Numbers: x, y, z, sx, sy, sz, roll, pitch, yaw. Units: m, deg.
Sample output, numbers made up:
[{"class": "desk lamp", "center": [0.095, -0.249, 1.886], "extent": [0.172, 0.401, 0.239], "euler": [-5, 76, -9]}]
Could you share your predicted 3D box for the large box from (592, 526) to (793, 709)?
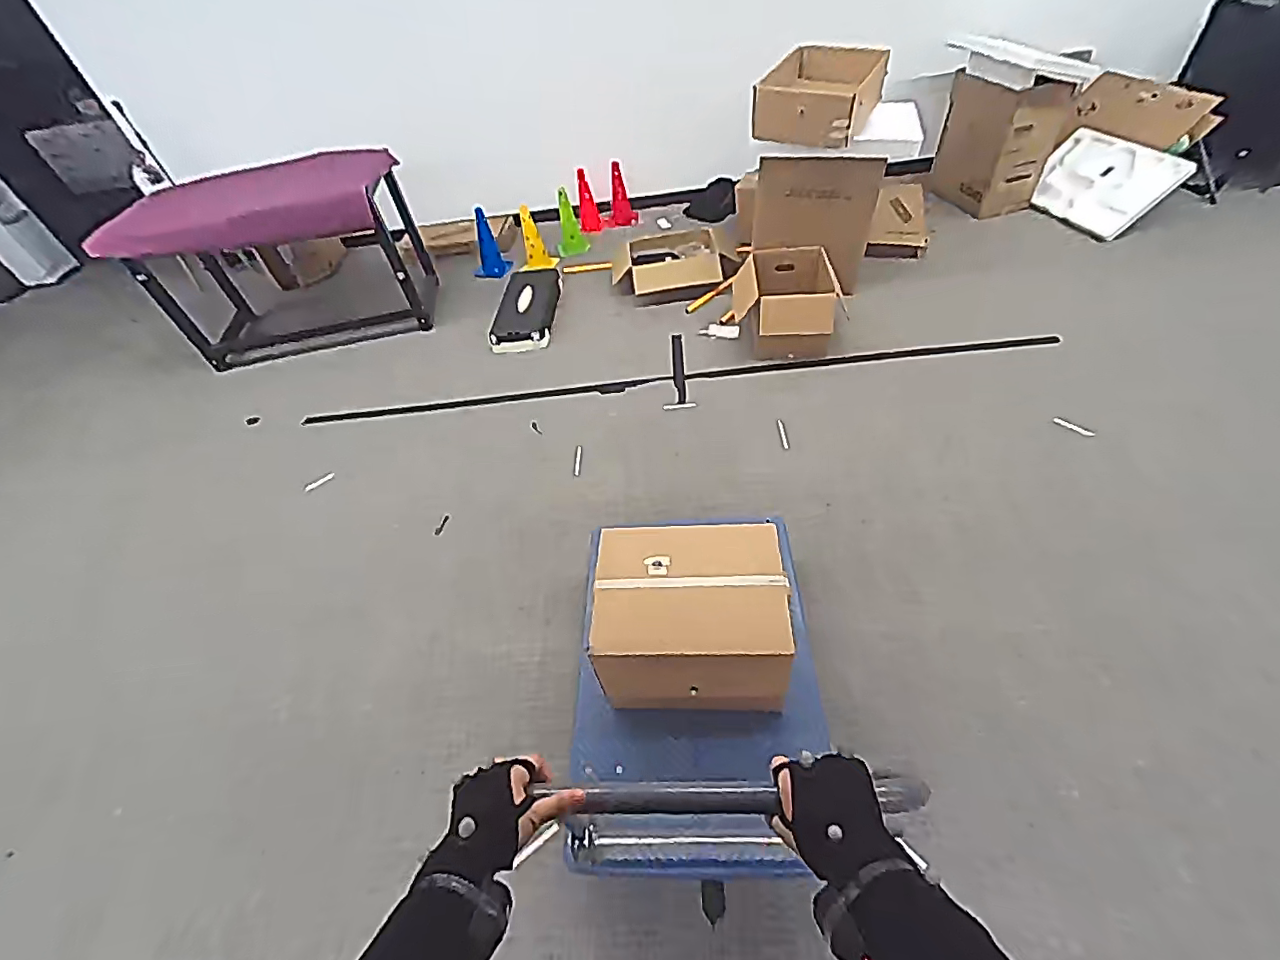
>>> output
[{"class": "large box", "center": [0.124, 0.331, 1.273], "extent": [0.408, 0.320, 0.320], "euler": [-3, 47, 7]}]
